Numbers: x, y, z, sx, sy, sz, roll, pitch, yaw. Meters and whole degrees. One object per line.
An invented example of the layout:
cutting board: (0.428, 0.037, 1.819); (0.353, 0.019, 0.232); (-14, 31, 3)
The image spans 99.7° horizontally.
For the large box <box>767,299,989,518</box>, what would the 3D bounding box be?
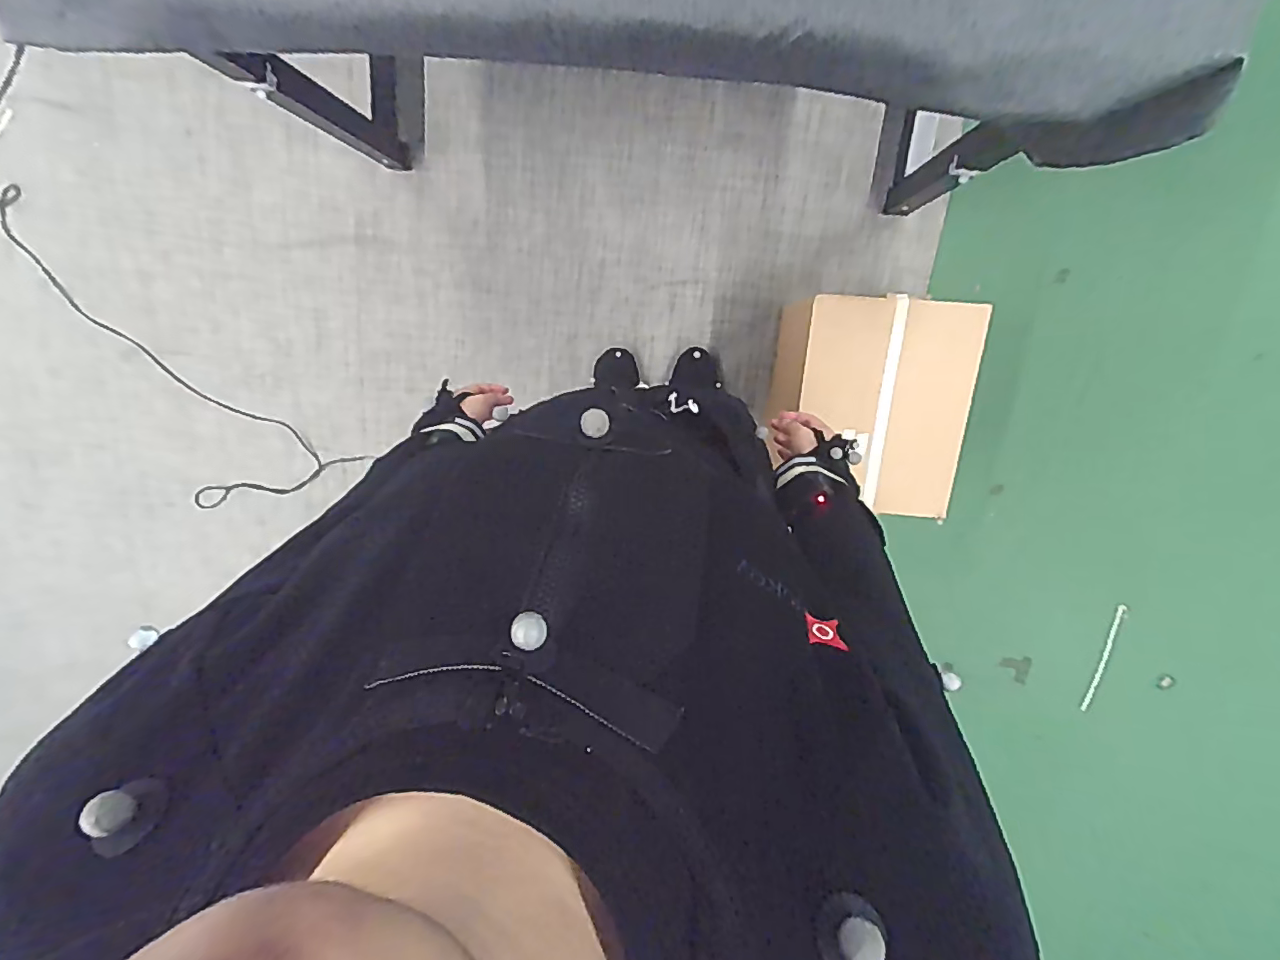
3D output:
large box: (0.466, -0.164, 1.153); (0.320, 0.320, 0.408); (4, 105, 4)
